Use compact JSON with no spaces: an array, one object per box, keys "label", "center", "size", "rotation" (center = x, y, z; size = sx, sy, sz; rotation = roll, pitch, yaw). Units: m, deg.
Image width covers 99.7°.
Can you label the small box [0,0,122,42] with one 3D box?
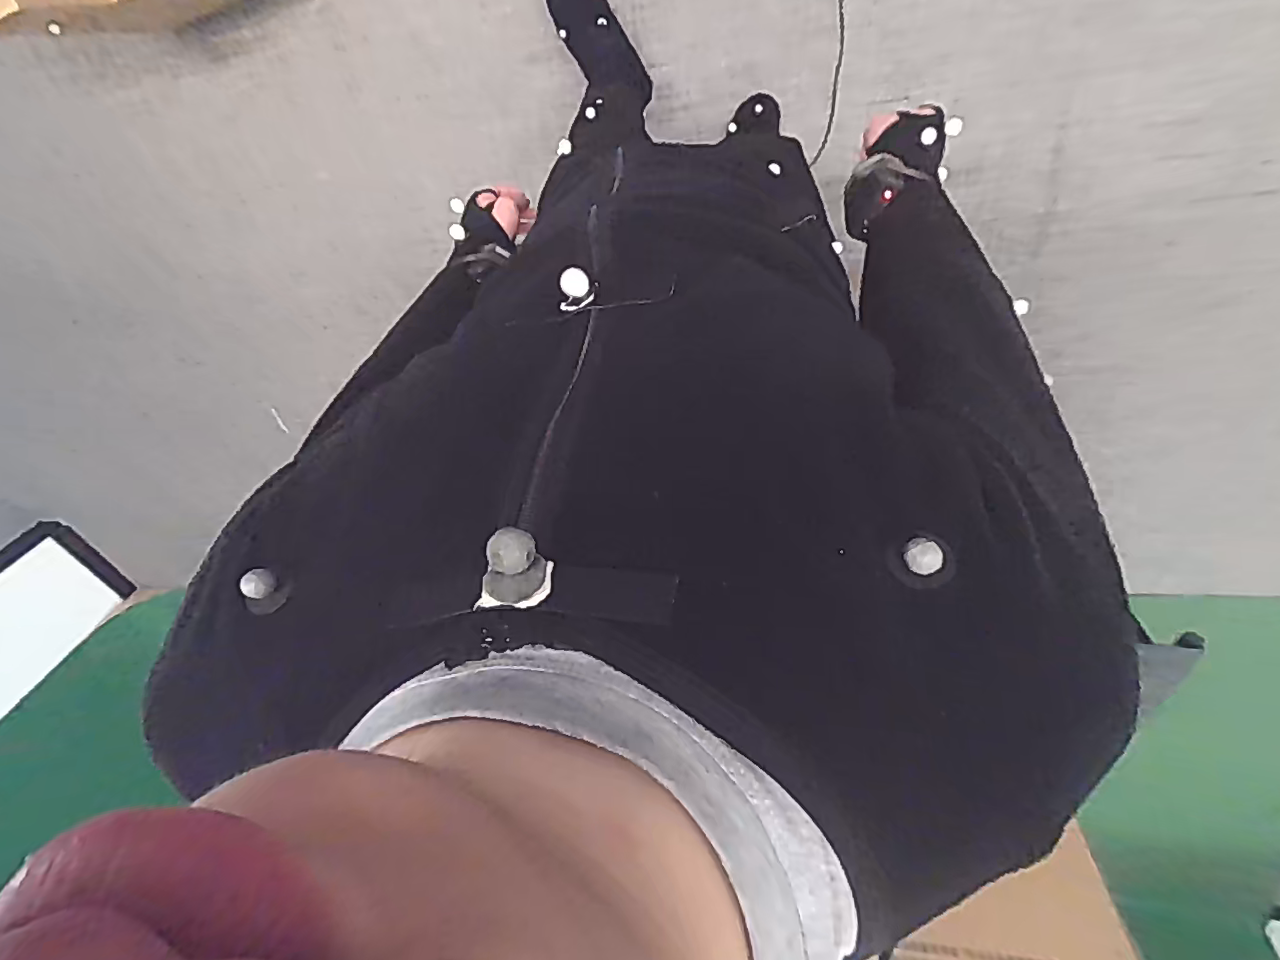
[{"label":"small box","center":[-1.013,-0.825,0.860],"size":[0.168,0.176,0.179],"rotation":[-6,131,15]}]
